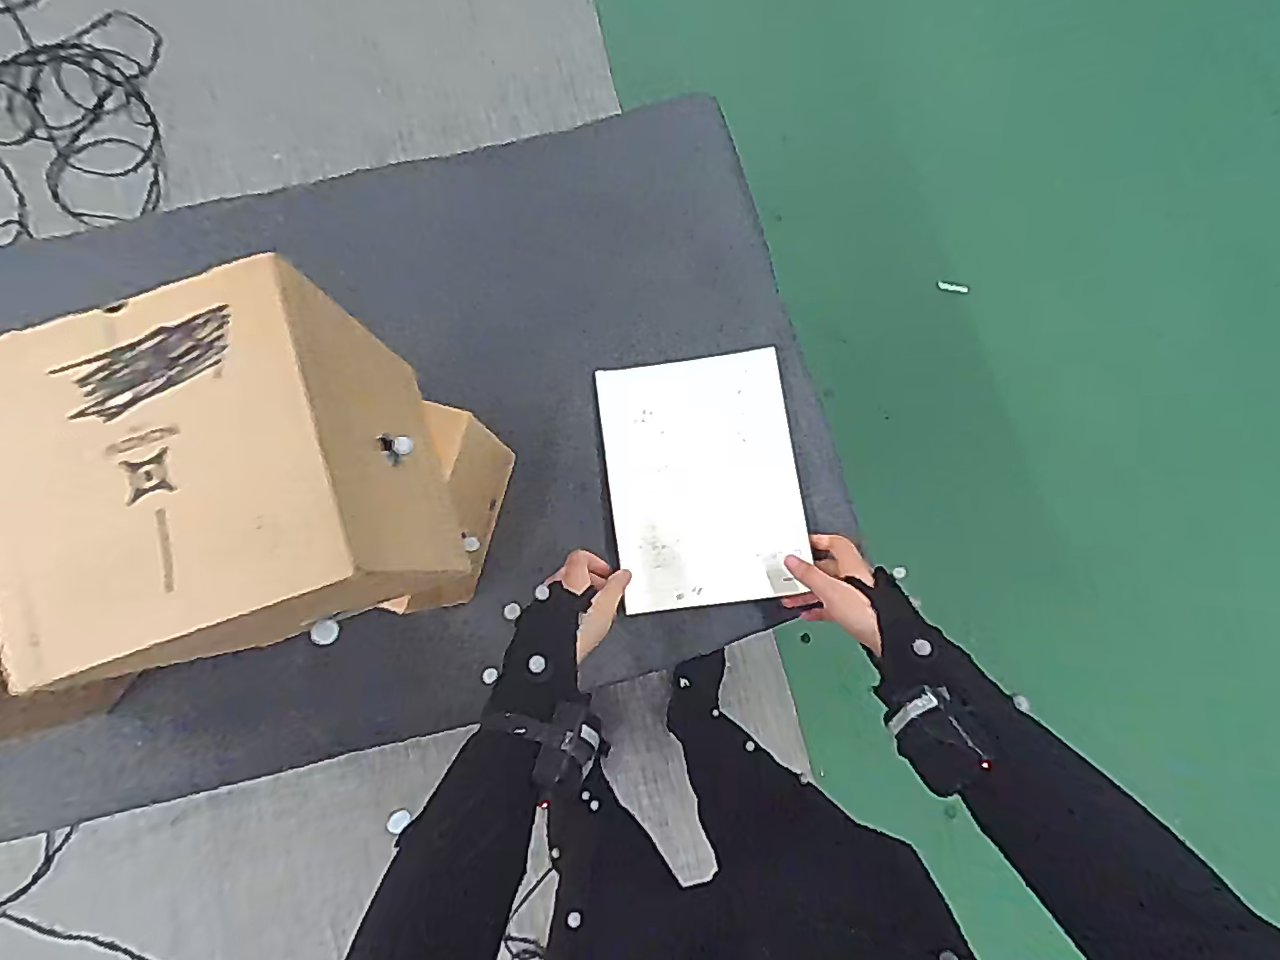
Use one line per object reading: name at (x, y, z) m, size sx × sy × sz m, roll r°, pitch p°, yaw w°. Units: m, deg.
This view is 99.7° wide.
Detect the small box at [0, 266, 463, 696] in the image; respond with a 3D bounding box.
small box at (-0.234, 0.007, 0.339) m, size 0.168 × 0.176 × 0.179 m, roll -19°, pitch 81°, yaw -2°

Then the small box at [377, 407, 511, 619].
small box at (-0.238, 0.019, 0.504) m, size 0.179 × 0.176 × 0.168 m, roll 14°, pitch 81°, yaw 4°

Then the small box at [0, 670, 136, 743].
small box at (-0.567, 0.116, 0.490) m, size 0.179 × 0.176 × 0.168 m, roll 35°, pitch 82°, yaw 6°
